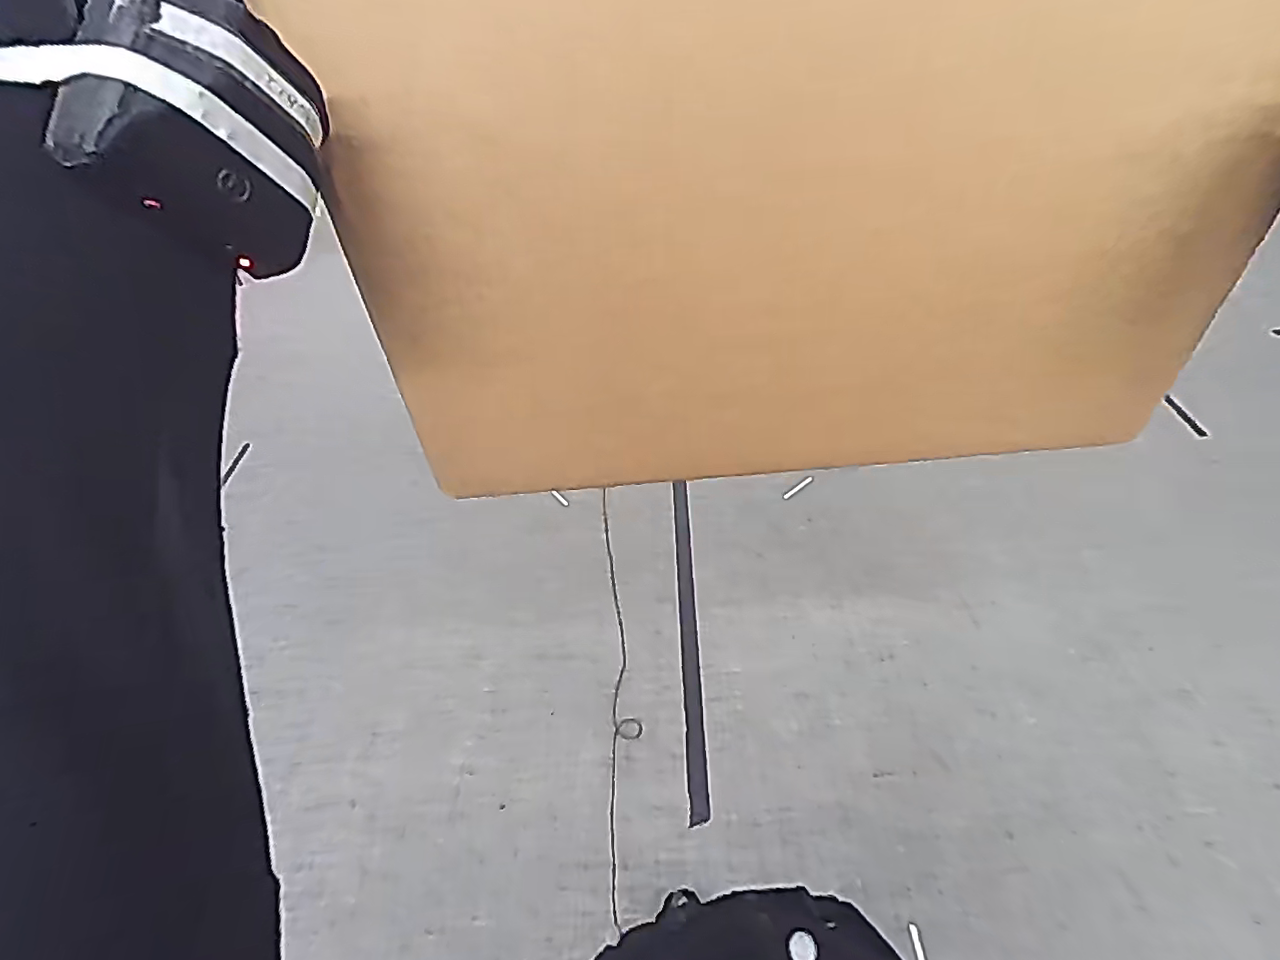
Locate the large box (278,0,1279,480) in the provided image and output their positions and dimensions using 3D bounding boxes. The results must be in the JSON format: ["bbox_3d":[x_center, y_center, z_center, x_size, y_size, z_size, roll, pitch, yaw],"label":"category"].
[{"bbox_3d":[0.063,-0.223,0.342,0.408,0.320,0.320,-5,39,-1],"label":"large box"}]
